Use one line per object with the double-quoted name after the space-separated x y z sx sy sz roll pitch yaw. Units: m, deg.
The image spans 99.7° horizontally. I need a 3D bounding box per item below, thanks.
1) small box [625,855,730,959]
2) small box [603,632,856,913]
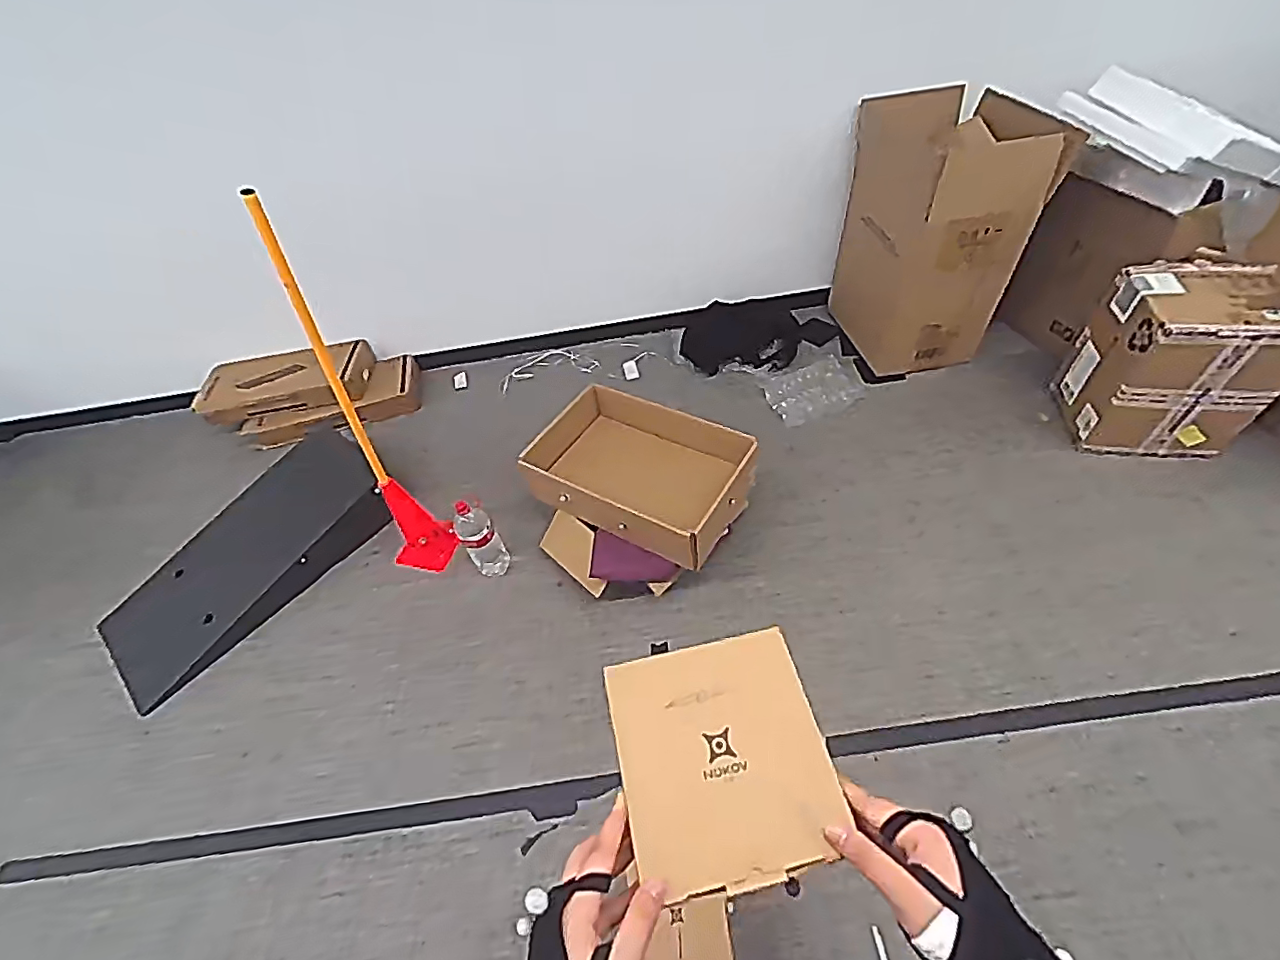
0.066 0.786 0.976 0.168 0.176 0.179 -8 49 2 "small box"
0.067 0.268 0.497 0.168 0.176 0.179 -11 52 -6 "small box"
